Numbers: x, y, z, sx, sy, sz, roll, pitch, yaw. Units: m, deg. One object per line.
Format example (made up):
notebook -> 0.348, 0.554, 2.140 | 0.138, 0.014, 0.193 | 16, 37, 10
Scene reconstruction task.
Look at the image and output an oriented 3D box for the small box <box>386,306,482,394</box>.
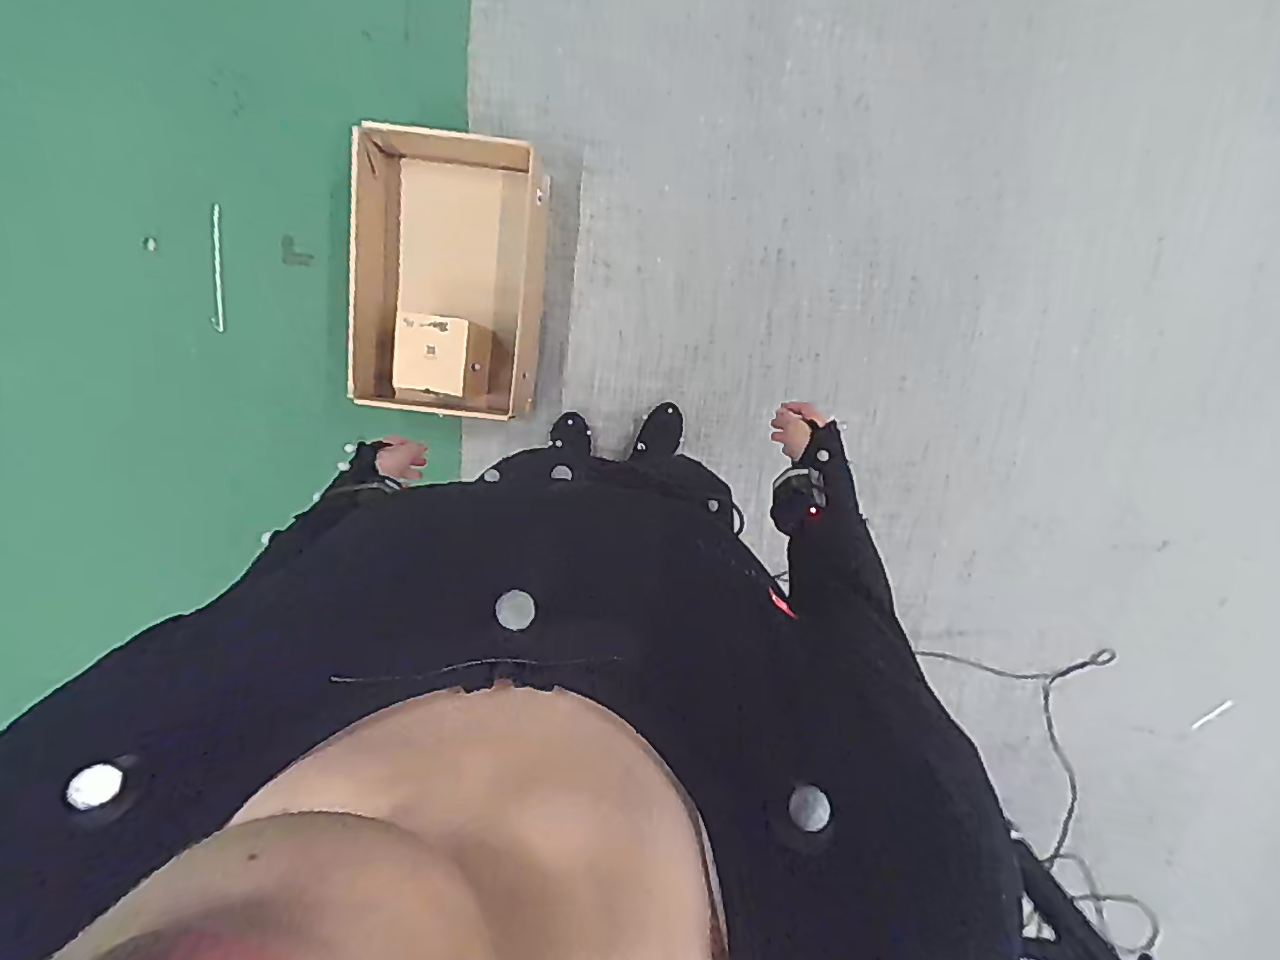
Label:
small box -> -0.487, -0.307, 1.296 | 0.168, 0.176, 0.179 | 7, 100, -2
